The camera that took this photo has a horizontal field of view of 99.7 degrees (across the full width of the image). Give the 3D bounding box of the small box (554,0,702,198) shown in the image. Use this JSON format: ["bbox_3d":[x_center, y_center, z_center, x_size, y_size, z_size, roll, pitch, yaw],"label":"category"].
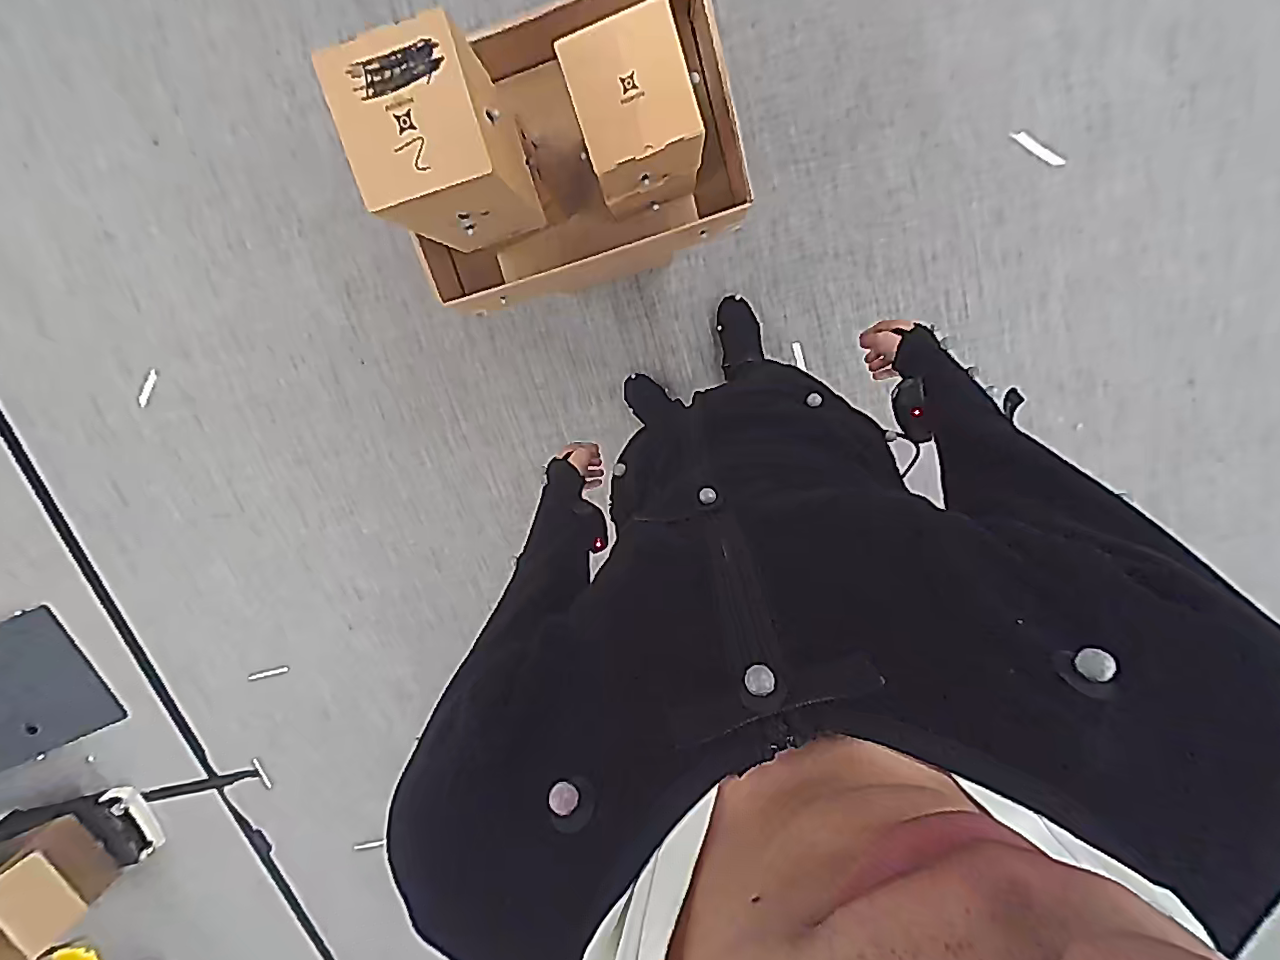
[{"bbox_3d":[-0.013,-0.564,0.824,0.168,0.176,0.179,-18,104,8],"label":"small box"}]

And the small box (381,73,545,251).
[{"bbox_3d":[-0.267,-0.487,0.858,0.168,0.176,0.179,-15,103,8],"label":"small box"}]
